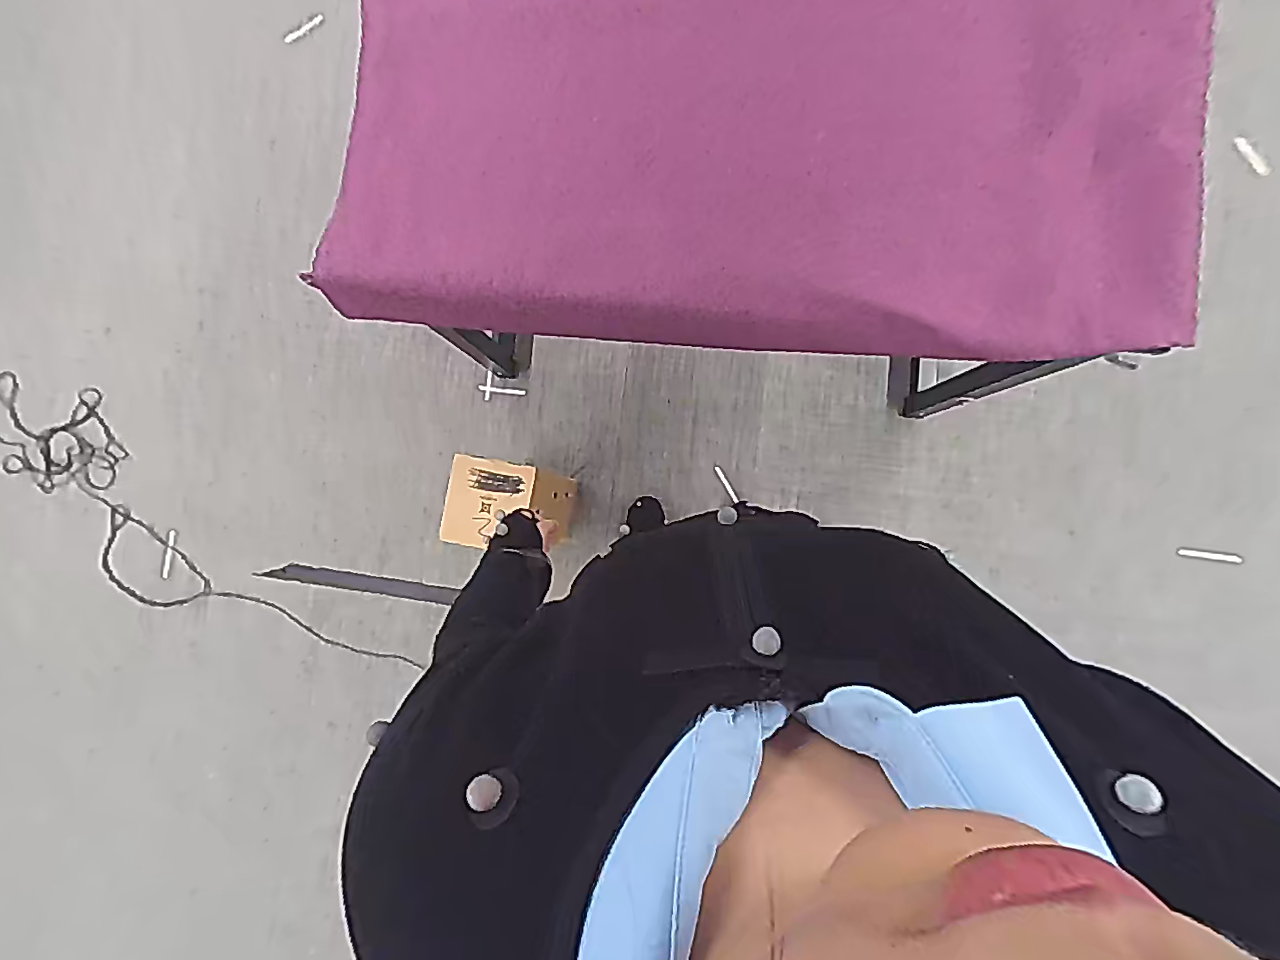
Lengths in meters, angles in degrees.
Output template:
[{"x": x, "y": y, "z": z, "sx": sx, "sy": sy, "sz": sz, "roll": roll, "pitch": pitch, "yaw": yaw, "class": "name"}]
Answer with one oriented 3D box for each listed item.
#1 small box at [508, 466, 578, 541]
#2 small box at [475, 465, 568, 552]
[{"x": -0.271, "y": 0.068, "z": 1.447, "sx": 0.168, "sy": 0.176, "sz": 0.179, "roll": 13, "pitch": 88, "yaw": 3, "class": "small box"}, {"x": -0.272, "y": 0.066, "z": 1.282, "sx": 0.168, "sy": 0.176, "sz": 0.179, "roll": 8, "pitch": 88, "yaw": 3, "class": "small box"}]
